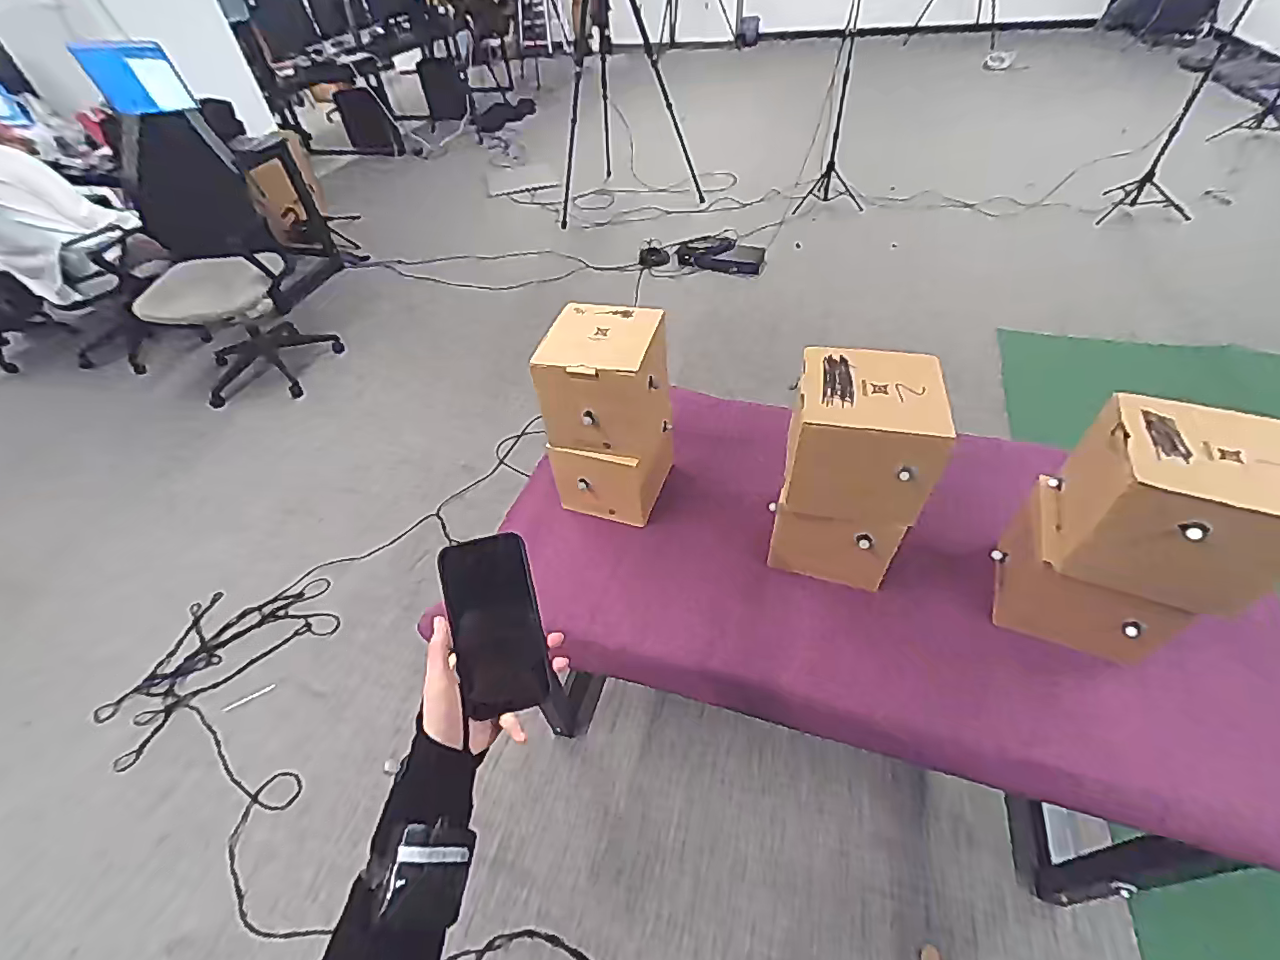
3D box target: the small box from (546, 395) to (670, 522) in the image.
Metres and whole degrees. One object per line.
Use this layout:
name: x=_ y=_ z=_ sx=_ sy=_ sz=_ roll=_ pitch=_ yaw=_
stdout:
small box: x=-0.045 y=-0.048 z=0.985 sx=0.168 sy=0.176 sz=0.179 roll=12 pitch=49 yaw=17

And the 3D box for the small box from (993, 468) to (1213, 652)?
small box: x=0.631 y=0.115 z=0.759 sx=0.179 sy=0.176 sz=0.168 roll=16 pitch=50 yaw=21

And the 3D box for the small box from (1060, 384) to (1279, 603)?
small box: x=0.621 y=0.016 z=0.629 sx=0.179 sy=0.176 sz=0.168 roll=17 pitch=50 yaw=20

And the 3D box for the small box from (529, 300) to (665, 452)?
small box: x=-0.056 y=-0.166 z=0.871 sx=0.168 sy=0.176 sz=0.179 roll=8 pitch=49 yaw=13

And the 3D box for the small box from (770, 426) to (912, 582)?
small box: x=0.315 y=0.040 z=0.862 sx=0.179 sy=0.176 sz=0.168 roll=11 pitch=49 yaw=16
